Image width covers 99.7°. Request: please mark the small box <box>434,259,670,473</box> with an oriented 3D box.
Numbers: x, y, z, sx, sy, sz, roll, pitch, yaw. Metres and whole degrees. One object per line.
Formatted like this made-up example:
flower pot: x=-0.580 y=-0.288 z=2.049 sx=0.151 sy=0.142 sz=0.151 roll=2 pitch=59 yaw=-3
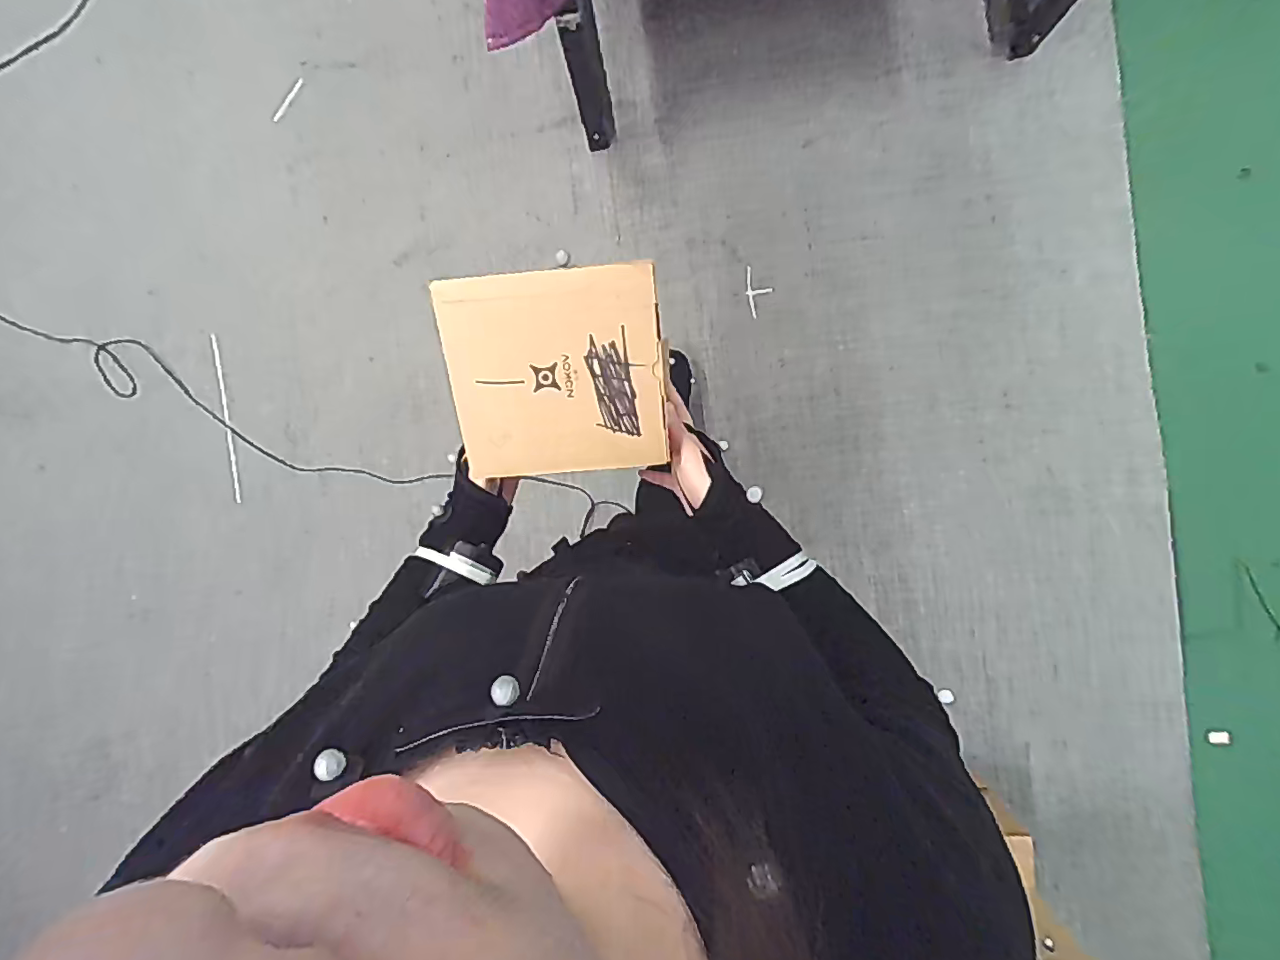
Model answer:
small box: x=-0.066 y=-0.116 z=0.512 sx=0.179 sy=0.176 sz=0.168 roll=-3 pitch=112 yaw=3
